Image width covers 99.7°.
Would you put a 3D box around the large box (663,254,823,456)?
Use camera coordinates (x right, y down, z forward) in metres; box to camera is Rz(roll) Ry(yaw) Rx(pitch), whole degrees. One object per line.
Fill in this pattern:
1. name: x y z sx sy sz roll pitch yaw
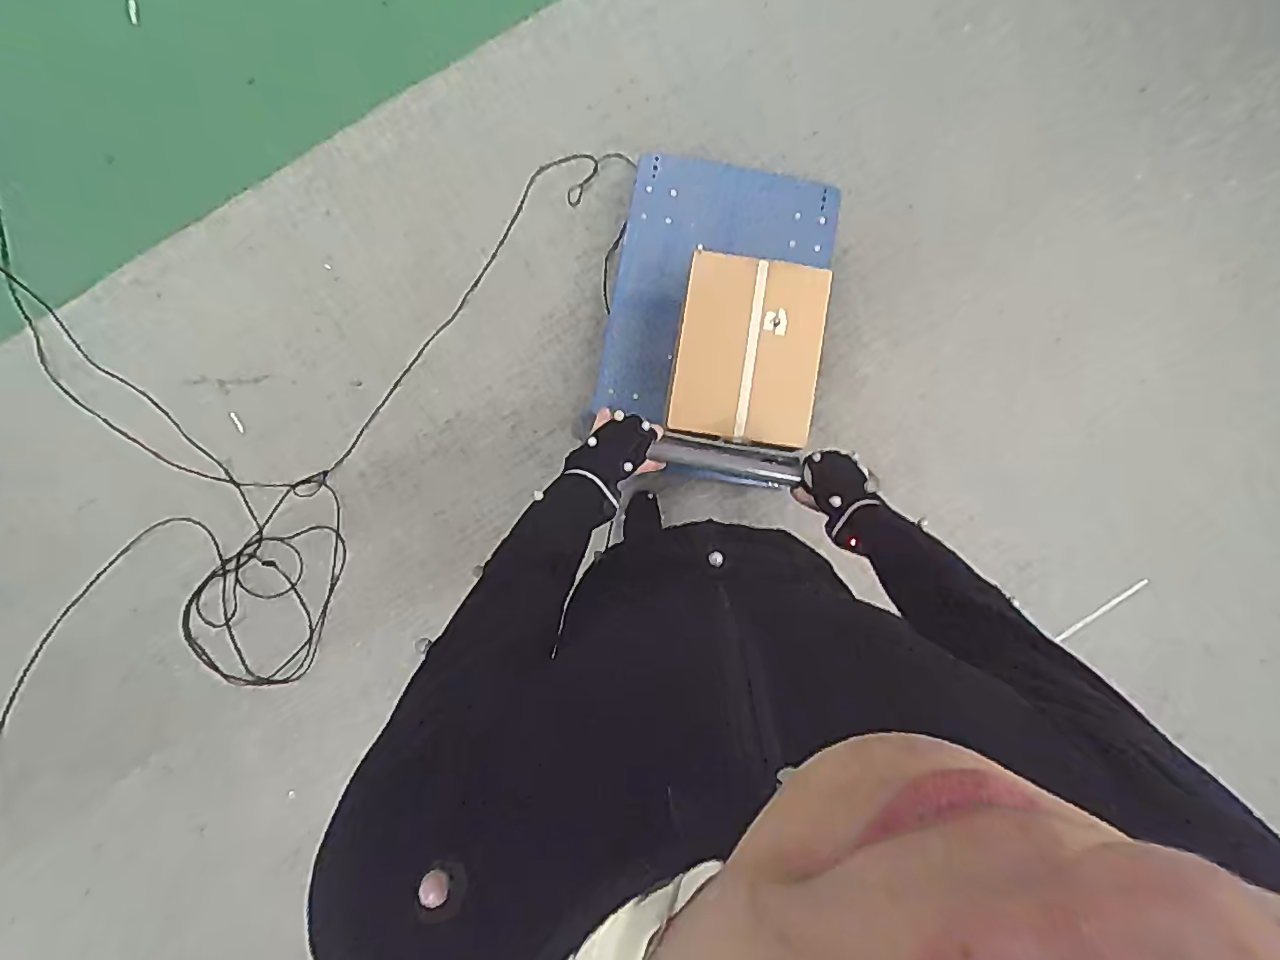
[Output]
1. large box: 0.236 -0.286 1.358 0.320 0.320 0.408 9 87 -1
